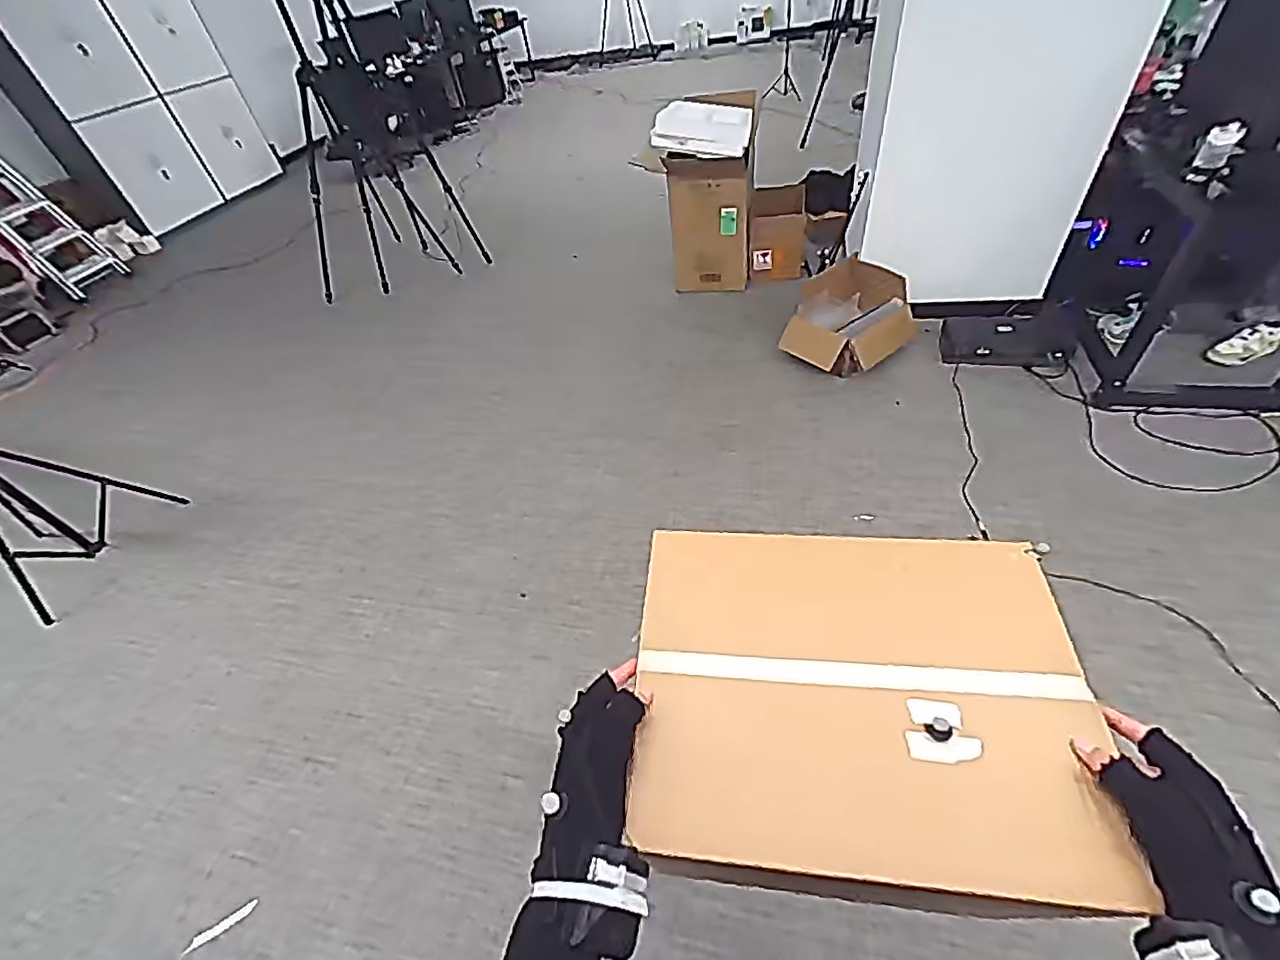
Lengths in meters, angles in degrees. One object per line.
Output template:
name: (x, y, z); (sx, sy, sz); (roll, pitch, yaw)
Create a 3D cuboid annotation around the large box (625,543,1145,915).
large box: (0.211, 0.288, 0.635); (0.408, 0.320, 0.320); (1, 51, 9)
